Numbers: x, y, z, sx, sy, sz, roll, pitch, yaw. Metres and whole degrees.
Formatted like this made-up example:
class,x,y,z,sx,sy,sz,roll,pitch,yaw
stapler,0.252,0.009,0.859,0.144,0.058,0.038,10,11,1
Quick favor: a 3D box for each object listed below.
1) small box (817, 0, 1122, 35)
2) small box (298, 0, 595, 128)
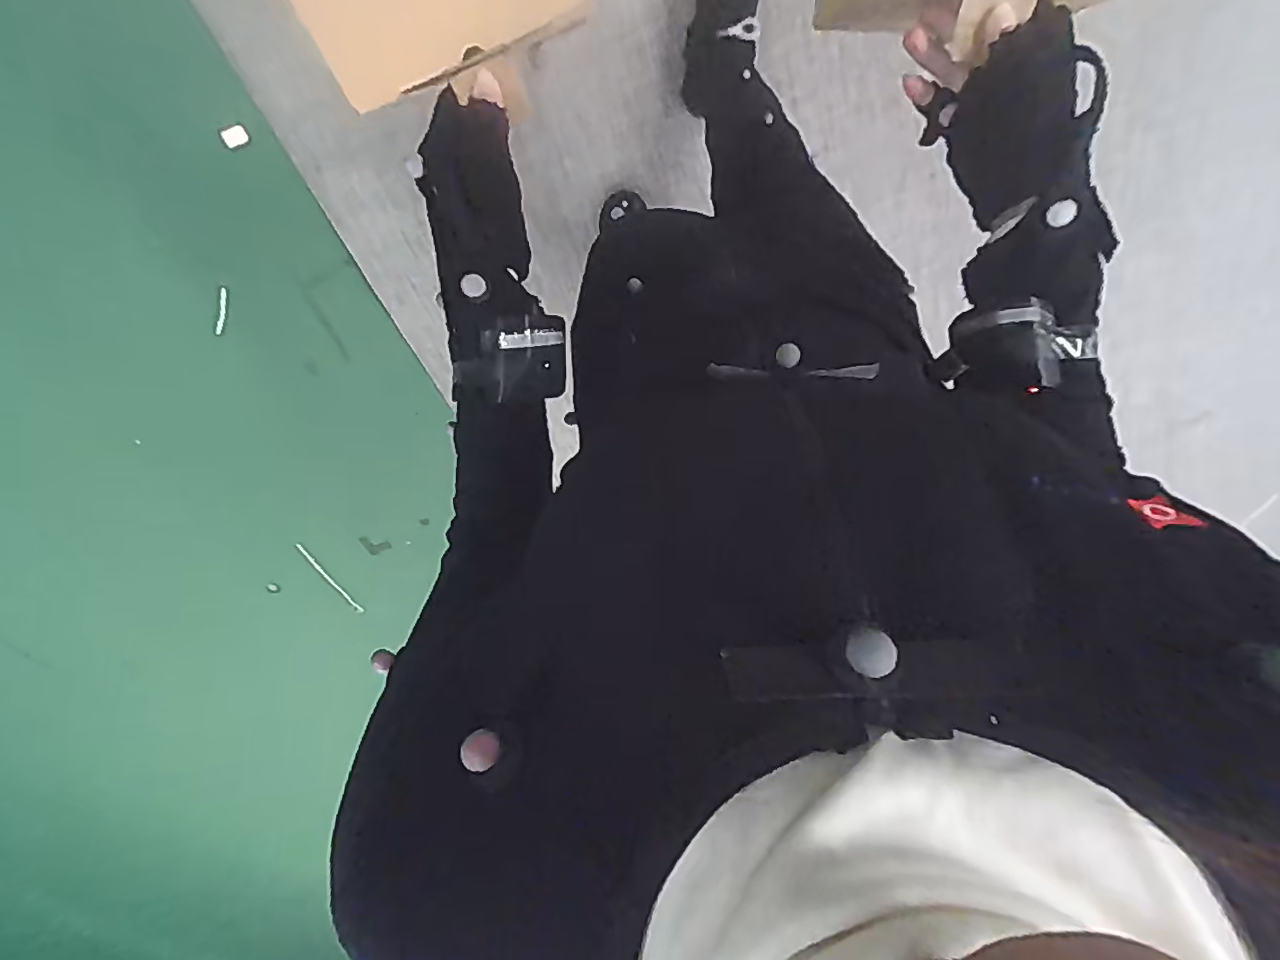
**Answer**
class,x,y,z,sx,sy,sz,roll,pitch,yaw
small box,0.222,-0.407,0.346,0.168,0.176,0.179,2,122,1
small box,-0.138,-0.366,0.355,0.168,0.176,0.179,-21,126,7
